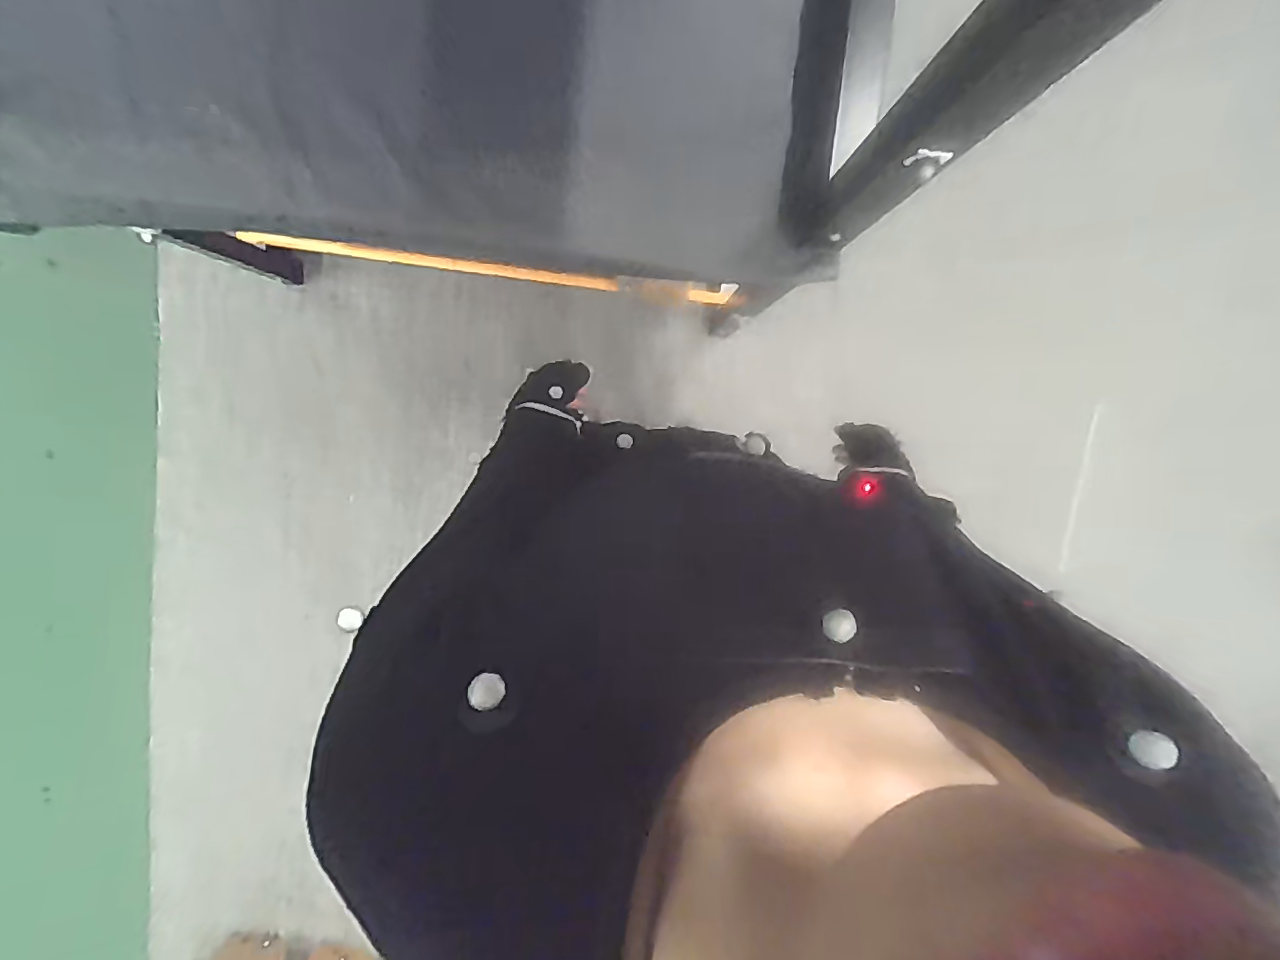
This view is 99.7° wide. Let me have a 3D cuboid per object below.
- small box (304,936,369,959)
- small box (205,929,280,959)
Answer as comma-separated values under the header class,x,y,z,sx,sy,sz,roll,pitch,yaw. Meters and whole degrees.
class,x,y,z,sx,sy,sz,roll,pitch,yaw
small box,-0.924,1.507,1.590,0.168,0.176,0.179,9,97,-1
small box,-1.190,1.469,1.585,0.168,0.176,0.179,6,98,-1
